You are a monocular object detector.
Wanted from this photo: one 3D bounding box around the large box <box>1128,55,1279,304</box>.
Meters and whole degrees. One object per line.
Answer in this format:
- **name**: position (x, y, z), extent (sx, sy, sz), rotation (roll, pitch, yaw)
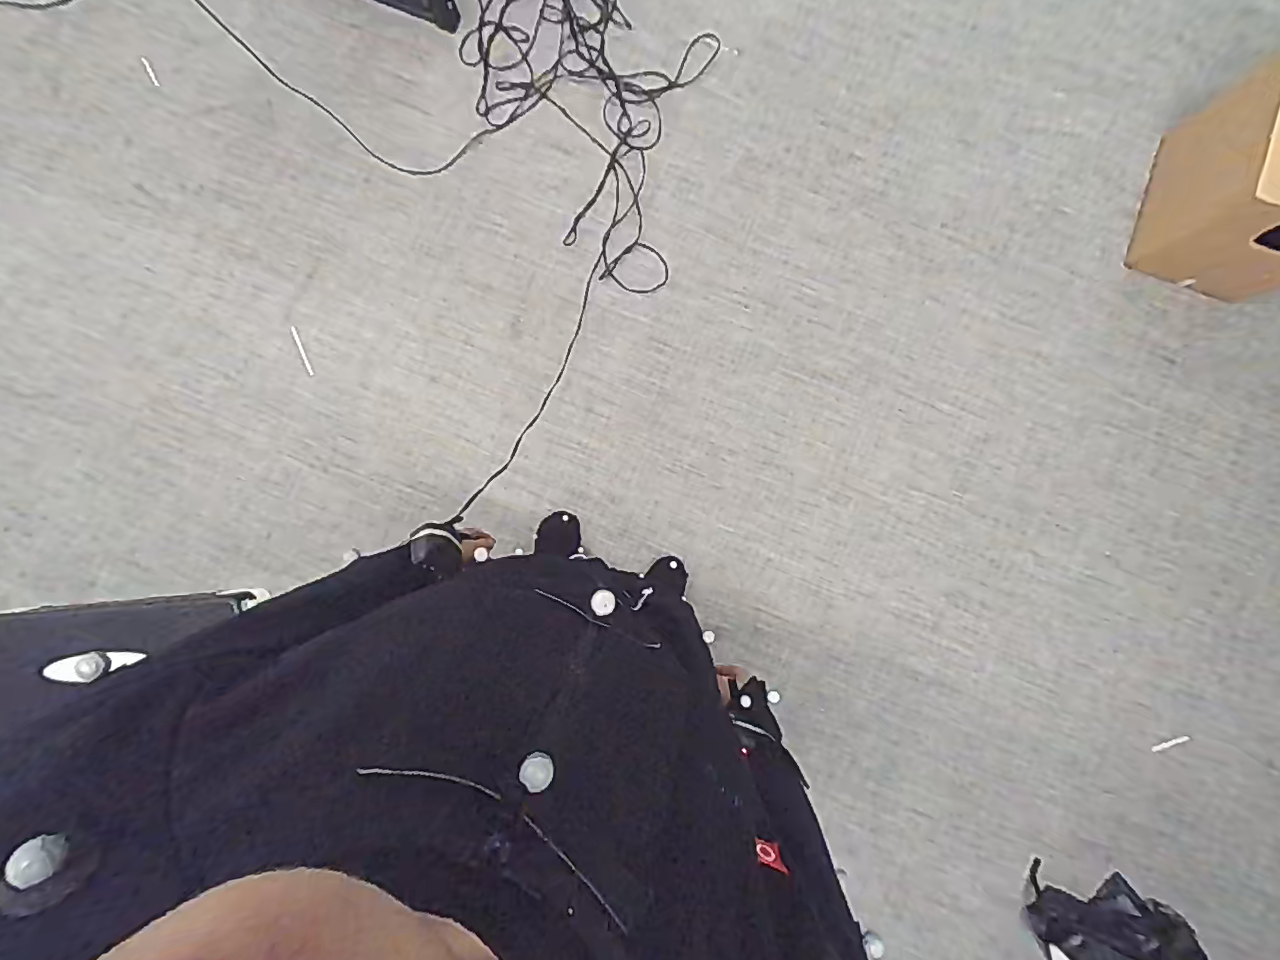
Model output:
- **large box**: position (1.504, -0.710, 1.308), extent (0.320, 0.320, 0.408), rotation (19, 87, 2)
